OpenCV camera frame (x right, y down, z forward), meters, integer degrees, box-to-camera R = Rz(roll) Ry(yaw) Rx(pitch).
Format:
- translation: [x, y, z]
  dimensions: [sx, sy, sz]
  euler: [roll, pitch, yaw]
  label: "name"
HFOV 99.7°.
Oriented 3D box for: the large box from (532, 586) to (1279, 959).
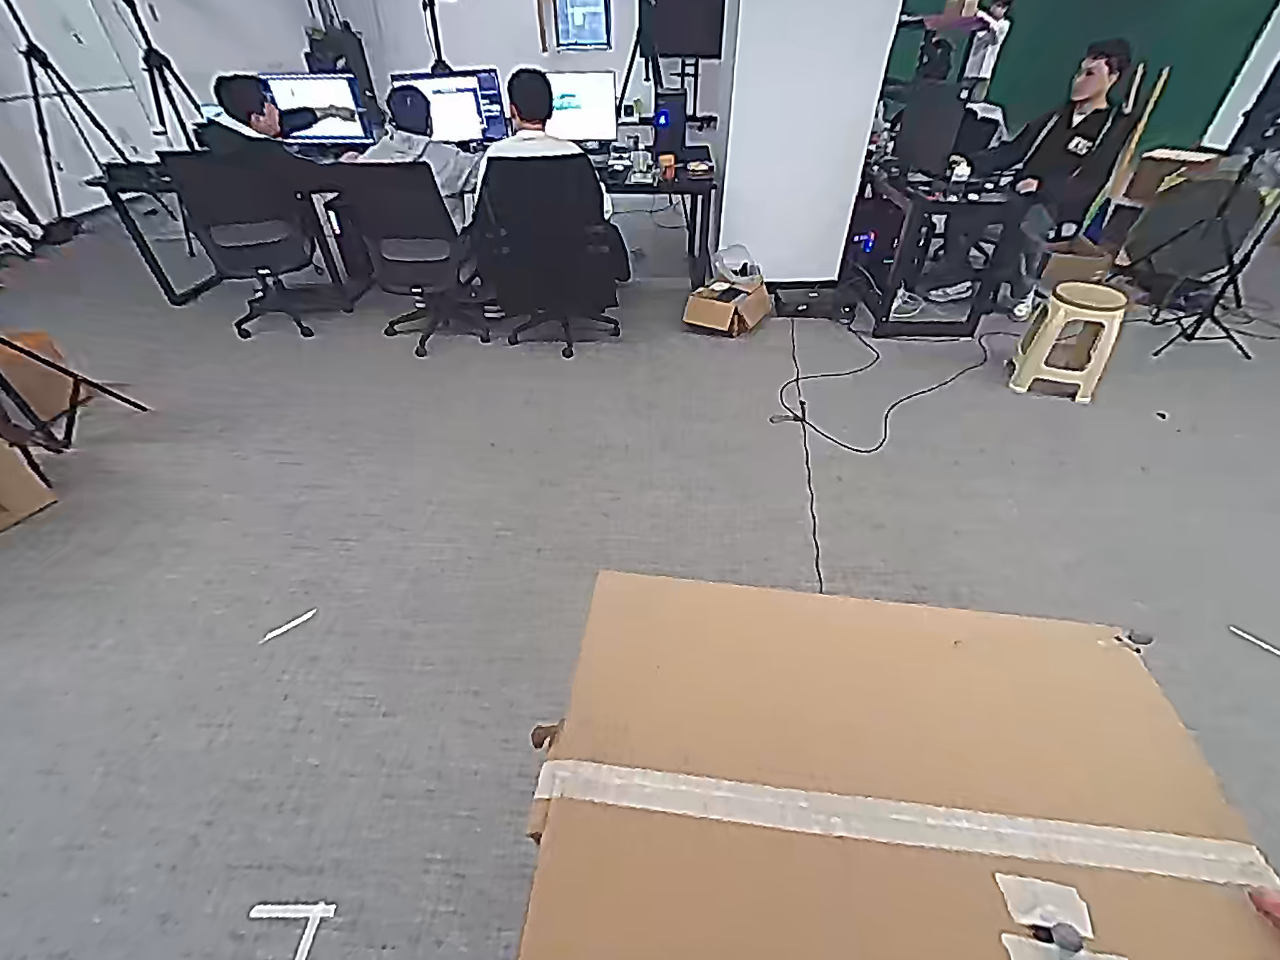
- translation: [0.142, 0.314, 0.424]
  dimensions: [0.408, 0.320, 0.320]
  euler: [6, 44, 3]
  label: "large box"
